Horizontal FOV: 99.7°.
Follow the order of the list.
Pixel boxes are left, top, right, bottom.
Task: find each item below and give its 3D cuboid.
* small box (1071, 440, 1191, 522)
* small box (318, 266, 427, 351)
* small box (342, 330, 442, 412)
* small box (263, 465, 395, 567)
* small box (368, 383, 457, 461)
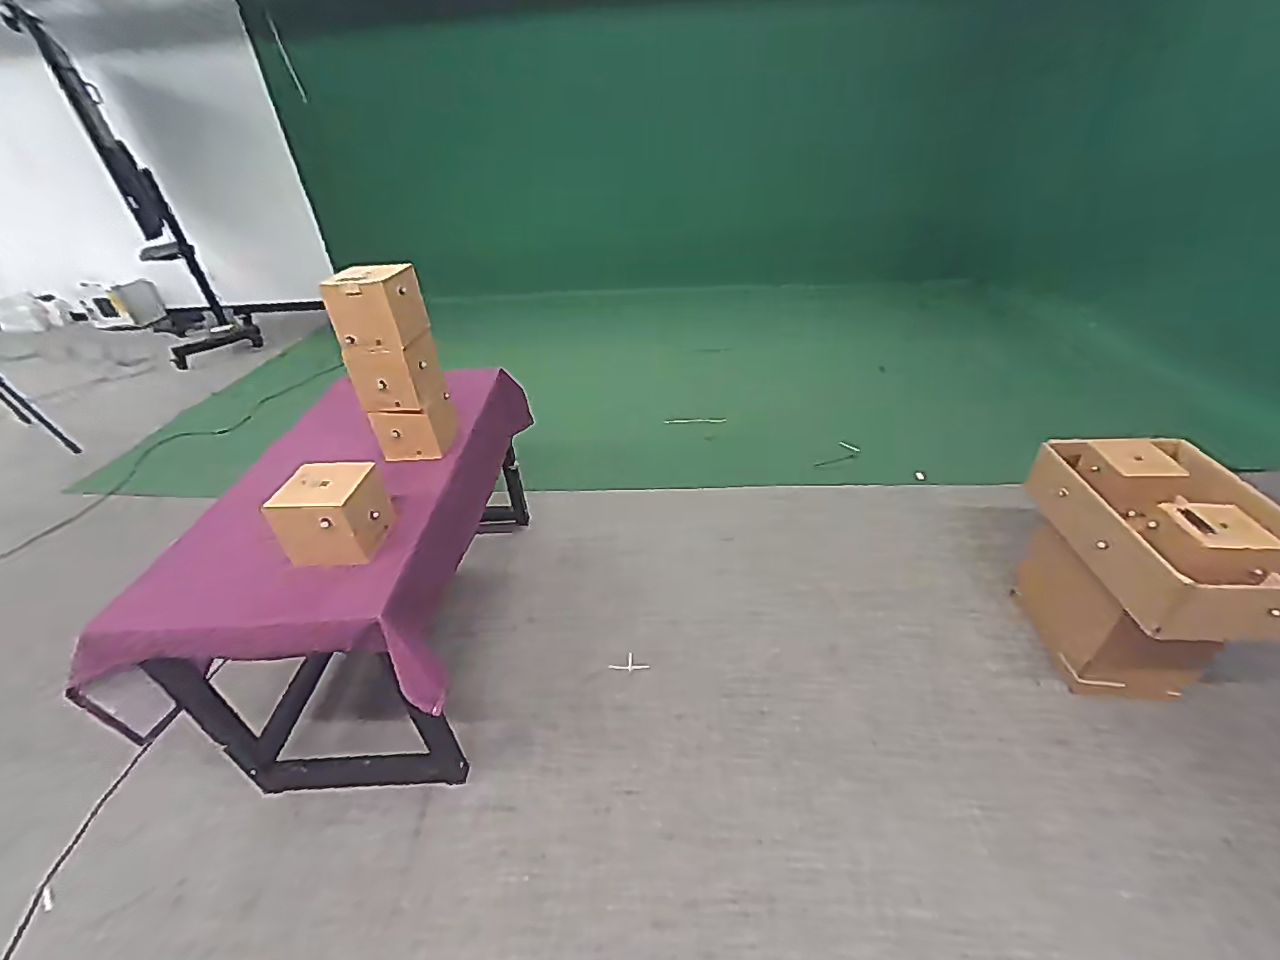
[{"bbox_3d":[1.395,0.002,1.554,0.168,0.176,0.179,0,37,7],"label":"small box"},{"bbox_3d":[-0.667,-0.434,1.378,0.168,0.176,0.179,-1,34,6],"label":"small box"},{"bbox_3d":[-0.659,-0.294,1.465,0.168,0.176,0.179,0,36,6],"label":"small box"},{"bbox_3d":[-0.683,0.081,1.217,0.179,0.176,0.168,-2,35,4],"label":"small box"},{"bbox_3d":[-0.647,-0.164,1.565,0.168,0.176,0.179,-3,35,3],"label":"small box"}]
